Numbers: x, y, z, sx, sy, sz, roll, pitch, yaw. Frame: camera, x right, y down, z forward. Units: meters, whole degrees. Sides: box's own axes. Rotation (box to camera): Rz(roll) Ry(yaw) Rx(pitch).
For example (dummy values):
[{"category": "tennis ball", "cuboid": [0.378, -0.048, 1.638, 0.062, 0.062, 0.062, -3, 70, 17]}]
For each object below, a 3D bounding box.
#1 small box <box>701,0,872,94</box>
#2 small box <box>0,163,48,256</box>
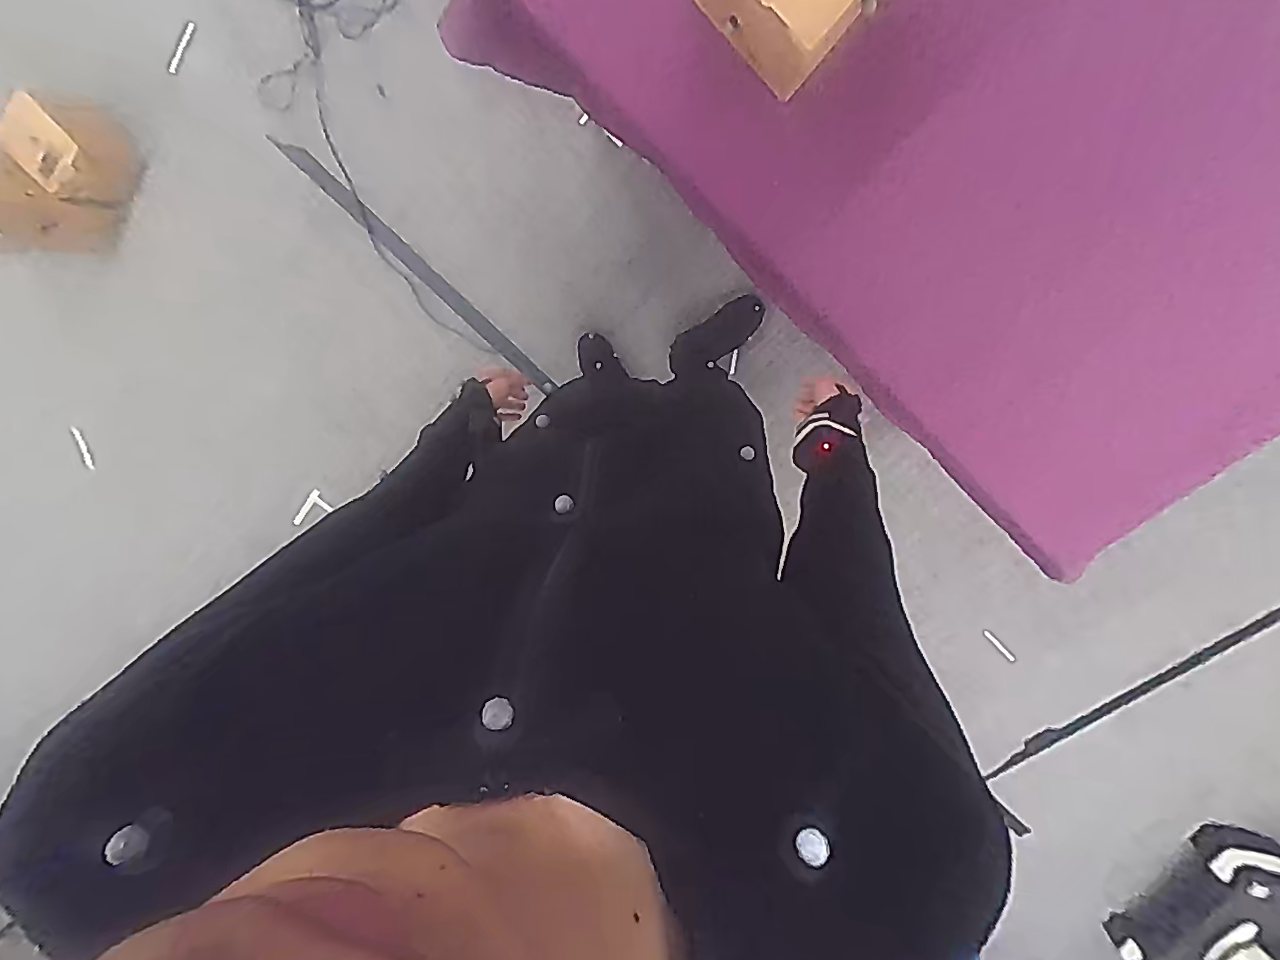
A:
[{"category": "small box", "cuboid": [0.173, -0.556, 0.561, 0.168, 0.176, 0.179, 42, 111, -11]}, {"category": "small box", "cuboid": [-1.622, -0.669, 1.314, 0.179, 0.176, 0.168, -38, 103, 20]}]
